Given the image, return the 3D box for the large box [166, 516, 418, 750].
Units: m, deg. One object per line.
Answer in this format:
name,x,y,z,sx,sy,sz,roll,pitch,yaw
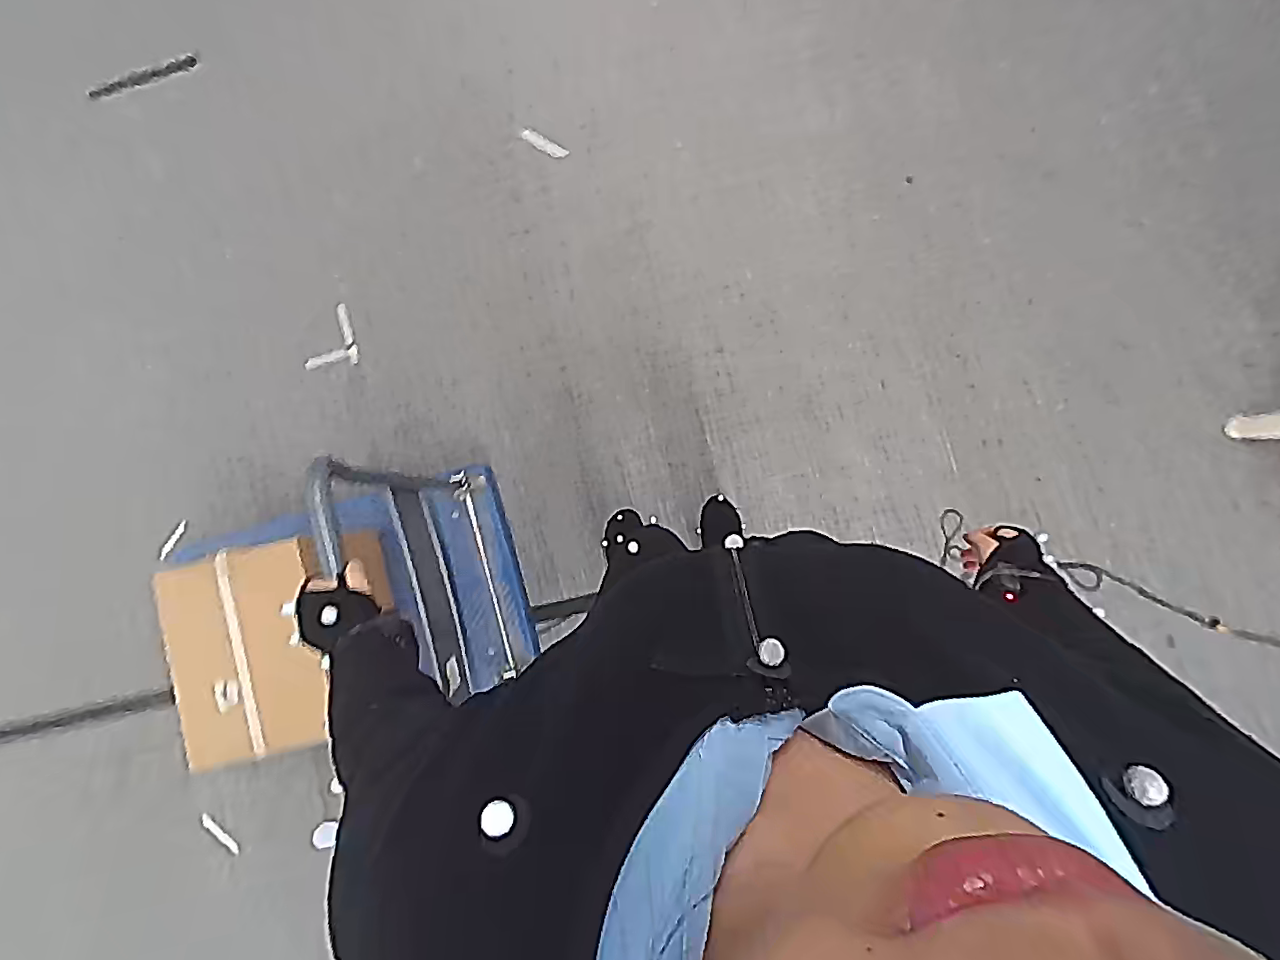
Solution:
large box,-0.757,0.317,1.230,0.320,0.320,0.408,-14,89,3
